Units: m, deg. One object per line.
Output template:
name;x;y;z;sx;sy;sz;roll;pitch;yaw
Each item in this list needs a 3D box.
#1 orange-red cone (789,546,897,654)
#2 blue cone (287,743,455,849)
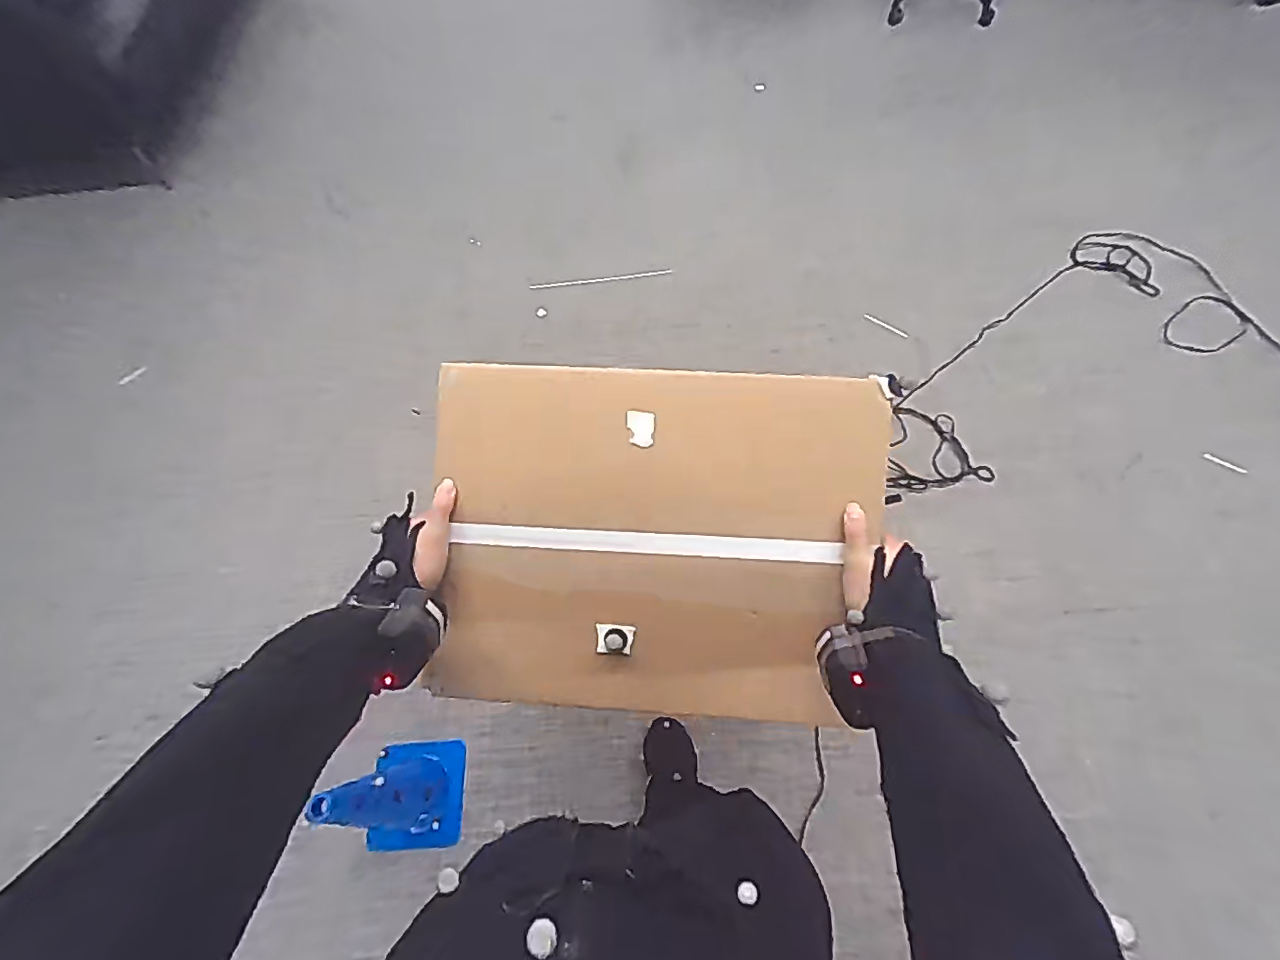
orange-red cone;0.444;0.207;1.094;0.199;0.360;0.198;14;66;11
blue cone;-0.505;0.591;1.003;0.192;0.380;0.193;-4;62;4
